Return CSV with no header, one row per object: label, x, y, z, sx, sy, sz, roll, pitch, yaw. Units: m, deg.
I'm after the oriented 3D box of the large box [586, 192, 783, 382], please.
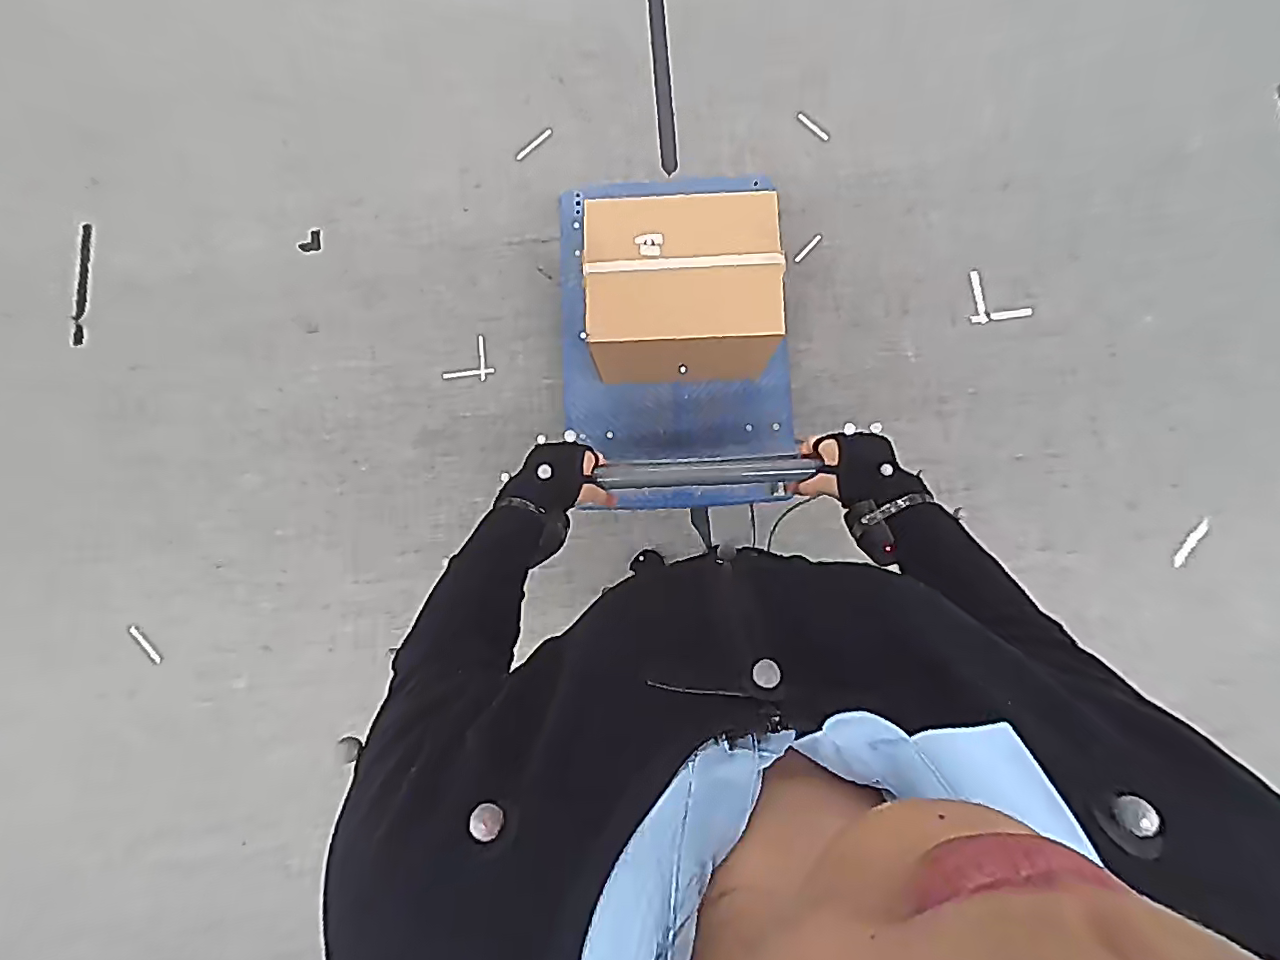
large box,0.098,-0.430,1.278,0.408,0.320,0.320,-2,82,3
